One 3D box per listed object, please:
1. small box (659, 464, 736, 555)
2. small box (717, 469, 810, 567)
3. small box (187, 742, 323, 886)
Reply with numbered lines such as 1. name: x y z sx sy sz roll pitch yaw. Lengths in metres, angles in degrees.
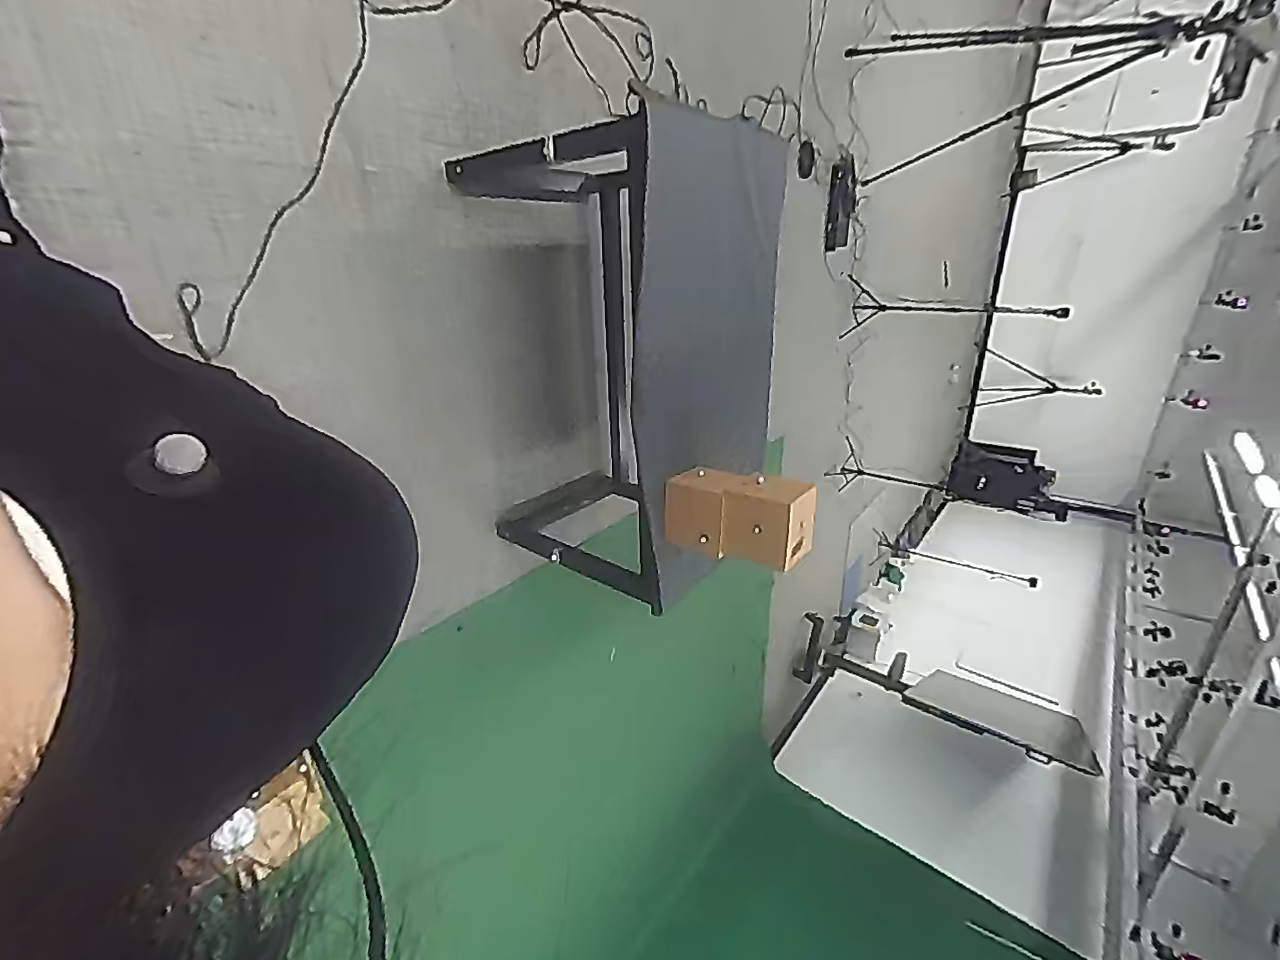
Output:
1. small box: 0.162 0.070 1.417 0.168 0.176 0.179 -22 118 -50
2. small box: 0.300 0.087 1.328 0.168 0.176 0.179 -23 119 -49
3. small box: -0.853 0.728 1.200 0.179 0.176 0.168 -33 126 -40
